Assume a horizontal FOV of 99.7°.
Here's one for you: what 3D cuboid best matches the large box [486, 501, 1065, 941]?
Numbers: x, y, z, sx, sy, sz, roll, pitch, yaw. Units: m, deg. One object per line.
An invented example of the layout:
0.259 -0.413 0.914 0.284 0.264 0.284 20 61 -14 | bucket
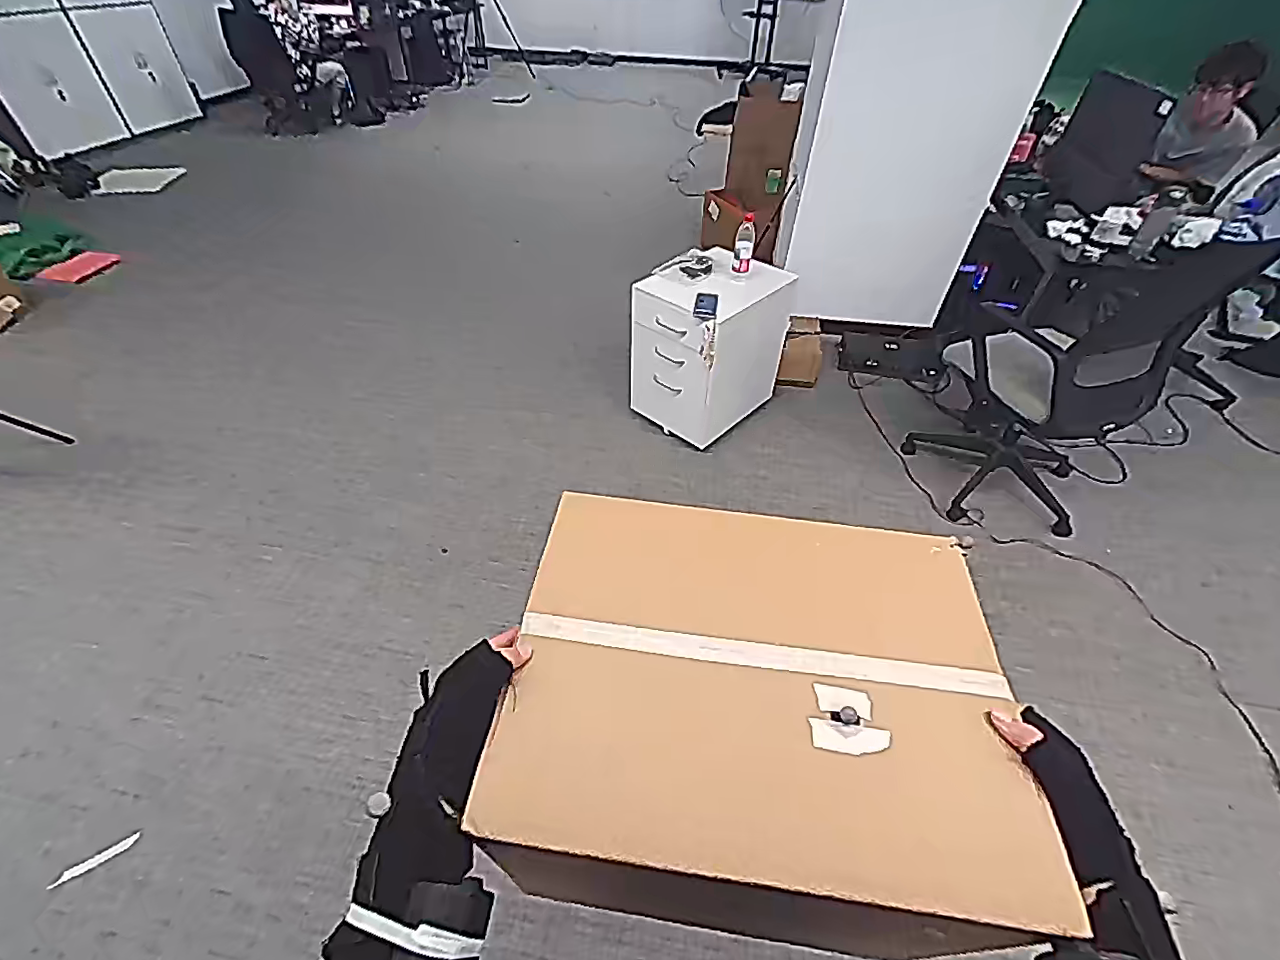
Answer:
0.098 0.253 0.575 0.408 0.320 0.320 7 48 4 | large box
